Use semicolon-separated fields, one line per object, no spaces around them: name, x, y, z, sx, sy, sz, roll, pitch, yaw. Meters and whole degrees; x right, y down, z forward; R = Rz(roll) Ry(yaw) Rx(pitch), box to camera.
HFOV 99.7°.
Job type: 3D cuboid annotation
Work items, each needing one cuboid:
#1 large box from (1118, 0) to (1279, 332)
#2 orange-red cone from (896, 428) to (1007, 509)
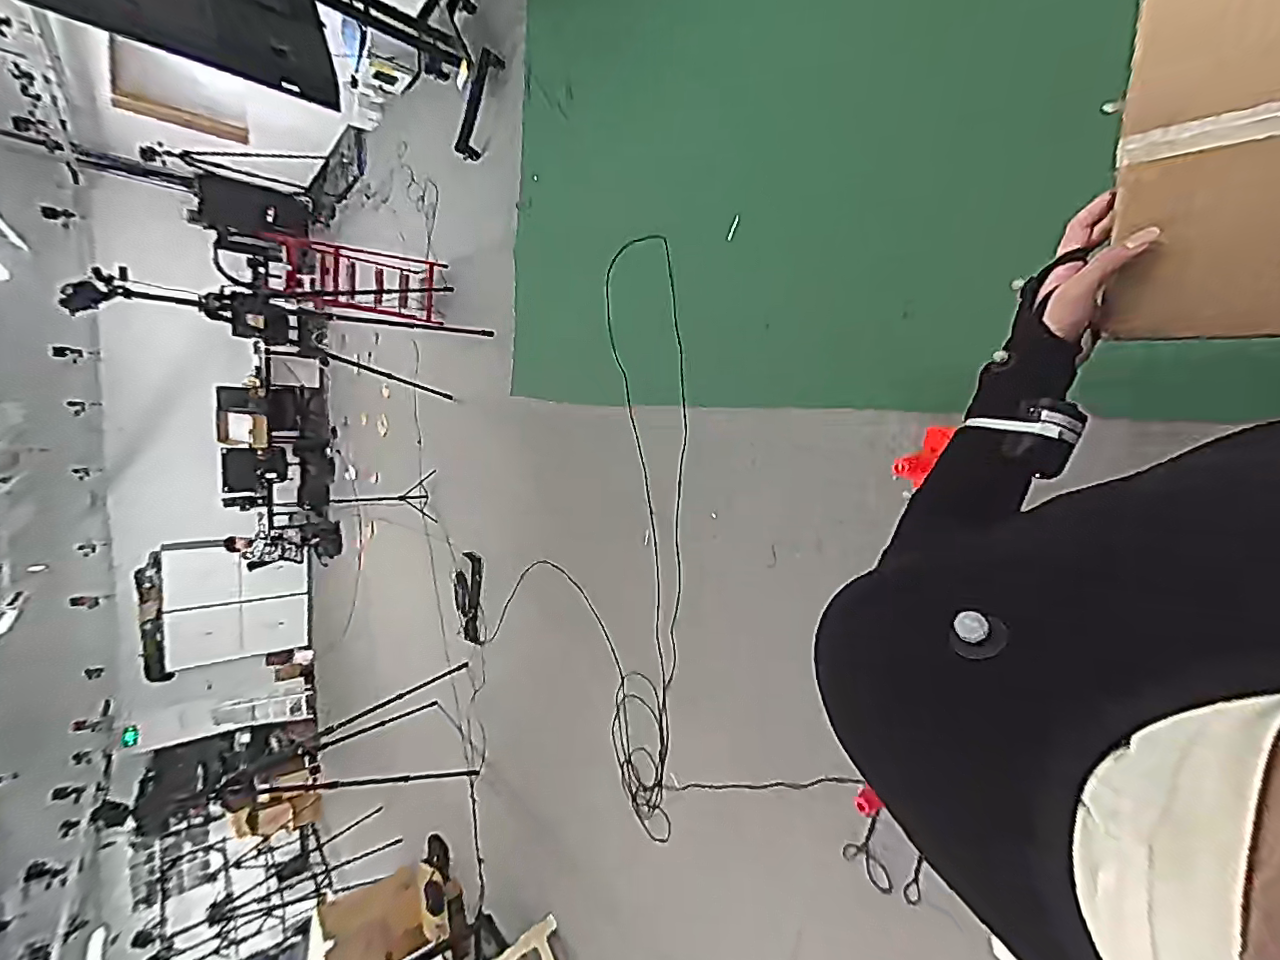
large box;0.654;-0.306;0.402;0.408;0.320;0.320;11;119;46
orange-red cone;0.758;-0.033;1.394;0.199;0.360;0.198;22;107;49
